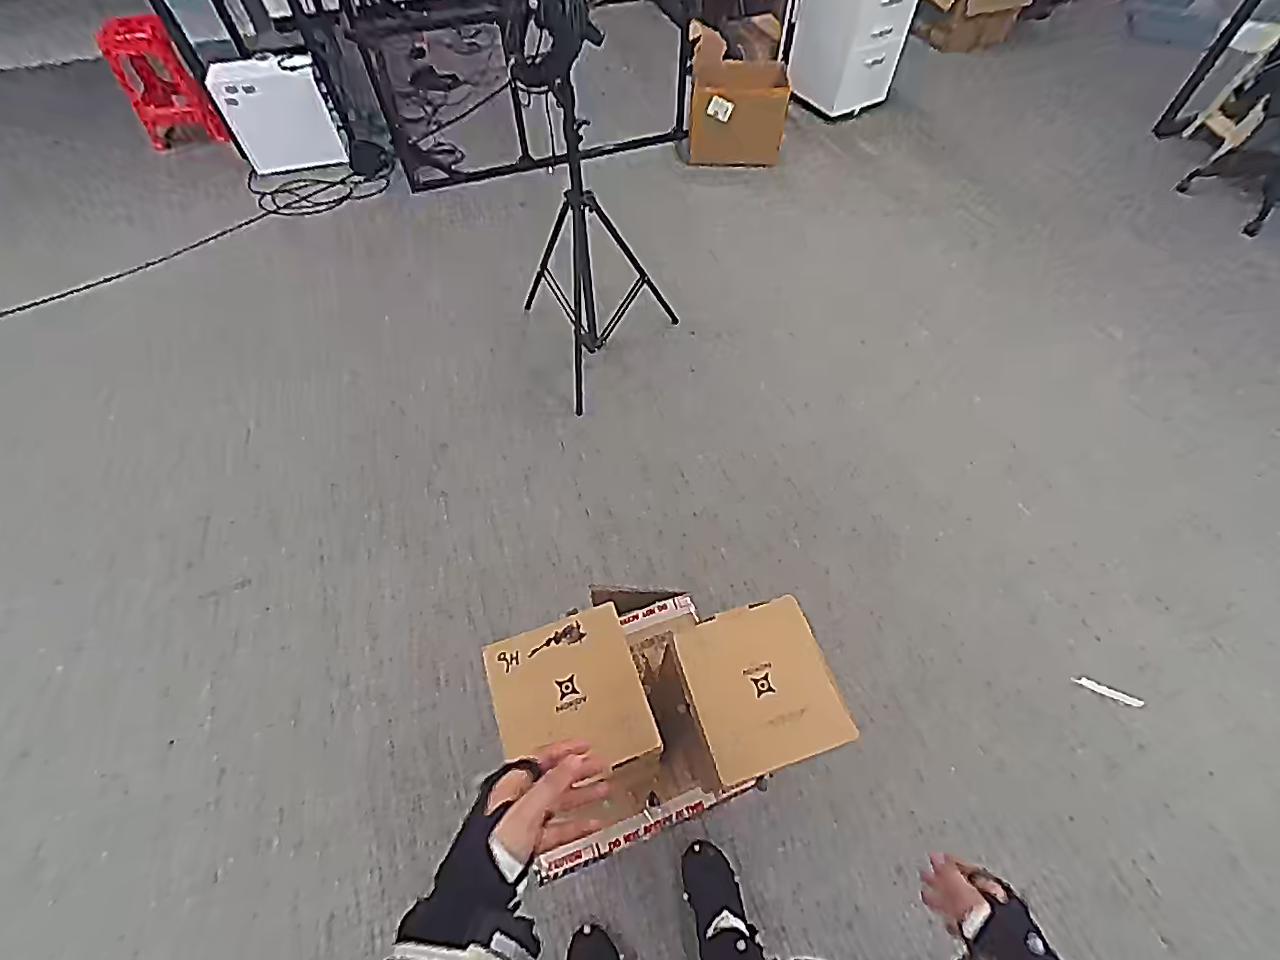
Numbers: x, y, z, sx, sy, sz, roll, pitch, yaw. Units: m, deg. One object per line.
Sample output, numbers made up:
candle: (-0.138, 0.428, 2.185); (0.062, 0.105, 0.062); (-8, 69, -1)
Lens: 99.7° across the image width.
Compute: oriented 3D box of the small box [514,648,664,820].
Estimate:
small box: (-0.075, 0.382, 0.812); (0.168, 0.176, 0.179); (-20, 62, -11)

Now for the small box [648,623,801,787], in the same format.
small box: (0.115, 0.350, 0.834); (0.168, 0.176, 0.179); (-17, 60, -11)
